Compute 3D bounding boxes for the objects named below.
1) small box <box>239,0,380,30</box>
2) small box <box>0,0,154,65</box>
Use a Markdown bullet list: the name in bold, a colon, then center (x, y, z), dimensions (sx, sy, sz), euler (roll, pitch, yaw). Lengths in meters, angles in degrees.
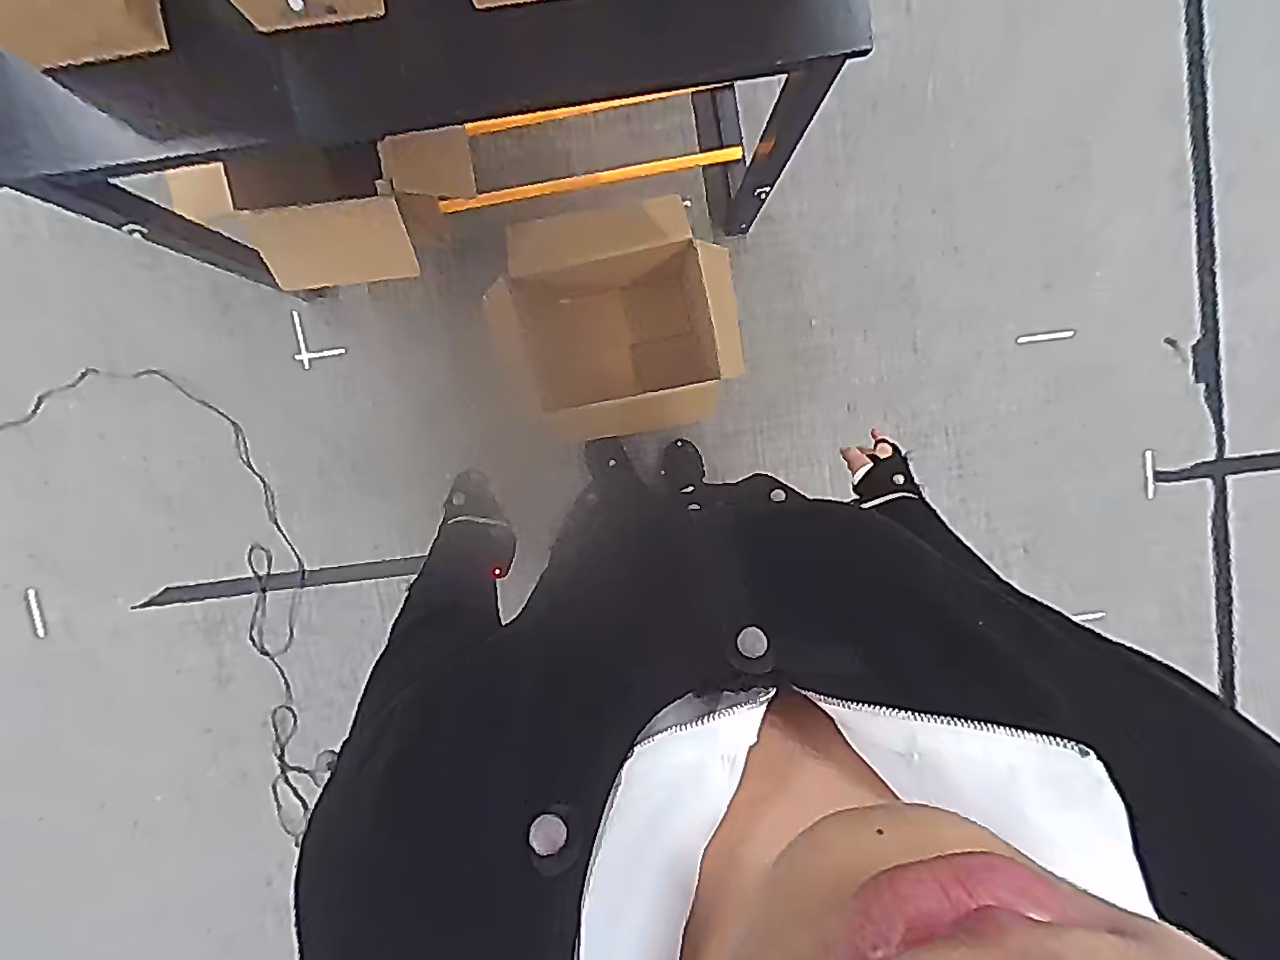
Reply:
- **small box**: center (-0.419, -0.663, 0.606), dimensions (0.168, 0.176, 0.179), euler (-8, 96, 0)
- **small box**: center (-0.700, -0.612, 0.604), dimensions (0.179, 0.176, 0.168), euler (-9, 95, 0)
